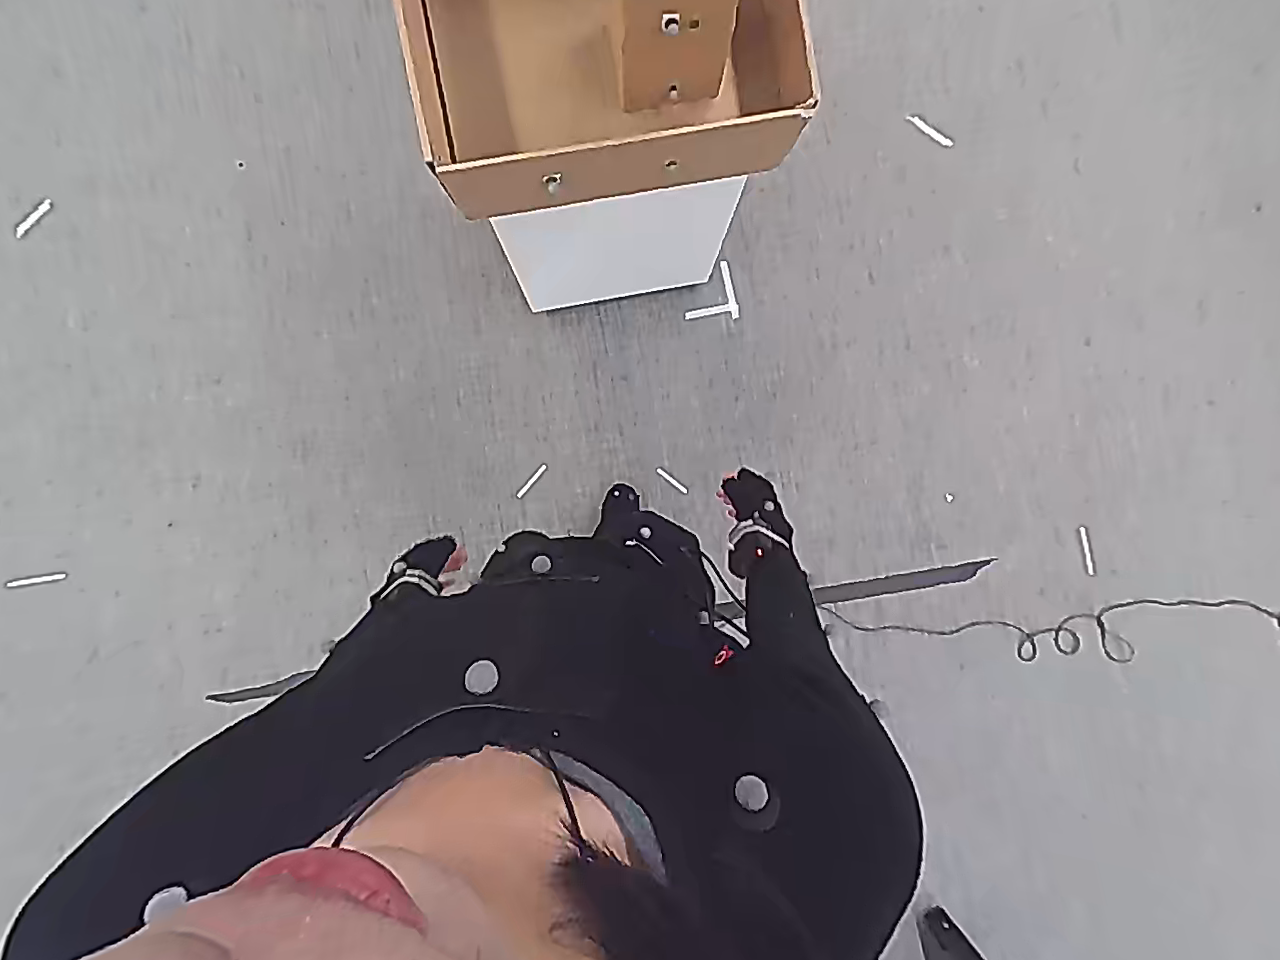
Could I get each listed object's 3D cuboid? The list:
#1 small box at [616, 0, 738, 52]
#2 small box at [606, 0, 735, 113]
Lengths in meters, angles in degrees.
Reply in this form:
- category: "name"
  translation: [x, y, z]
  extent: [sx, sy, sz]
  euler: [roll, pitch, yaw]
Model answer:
- category: "small box"
  translation: [0.042, -0.726, 0.716]
  extent: [0.168, 0.176, 0.179]
  euler: [-11, 93, 1]
- category: "small box"
  translation: [0.041, -0.739, 0.879]
  extent: [0.179, 0.176, 0.168]
  euler: [-10, 92, -1]
